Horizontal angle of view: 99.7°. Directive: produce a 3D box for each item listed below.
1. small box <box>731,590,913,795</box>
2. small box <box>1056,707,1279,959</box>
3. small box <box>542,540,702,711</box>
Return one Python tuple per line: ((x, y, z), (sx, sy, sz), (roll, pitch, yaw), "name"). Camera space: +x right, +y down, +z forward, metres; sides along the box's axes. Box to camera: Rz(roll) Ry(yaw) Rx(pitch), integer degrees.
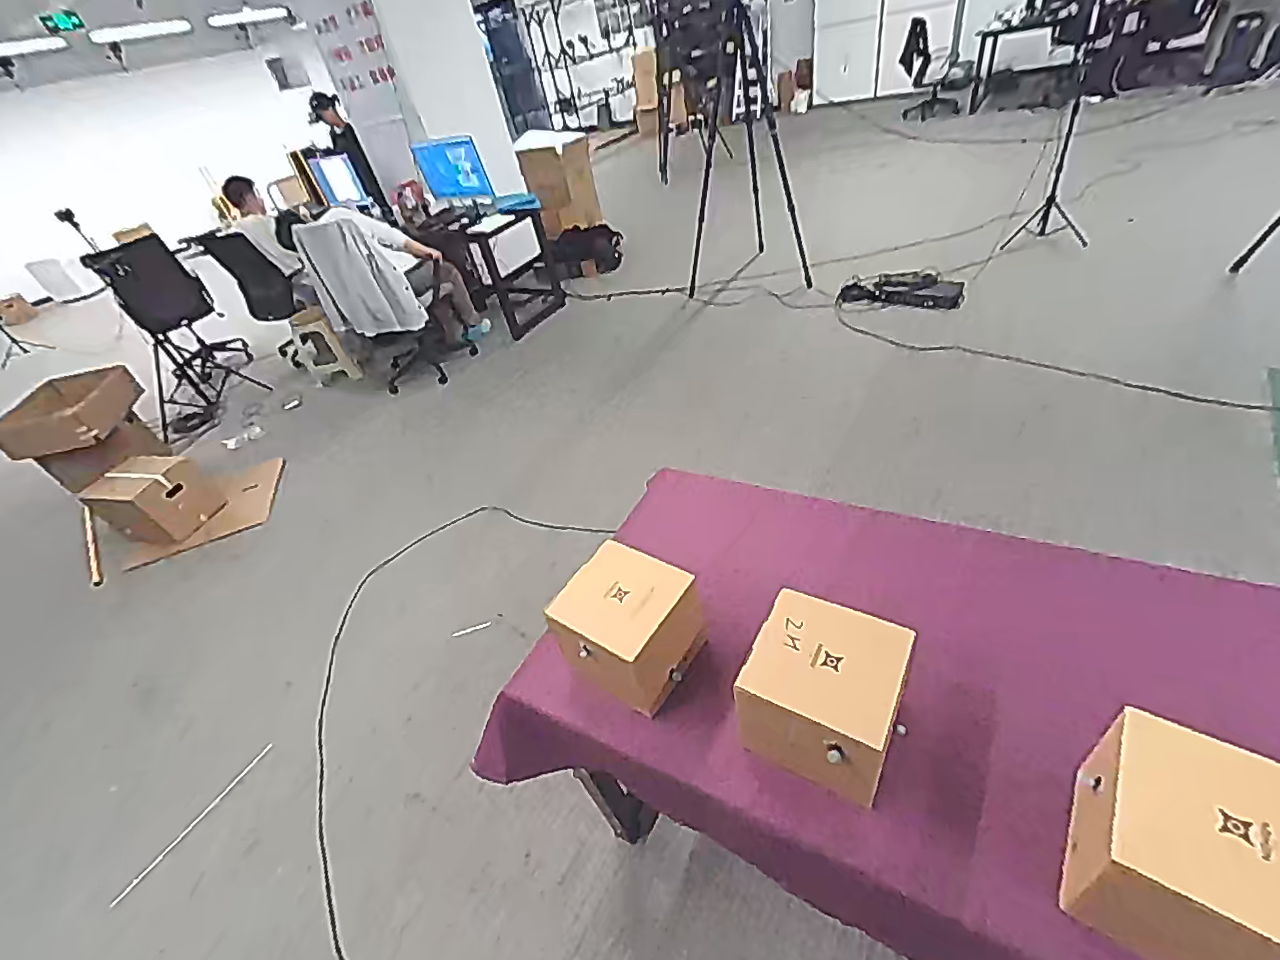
((0.240, 0.282, 0.717), (0.179, 0.176, 0.168), (15, 47, 31), "small box")
((0.539, 0.368, 0.527), (0.179, 0.176, 0.168), (18, 49, 33), "small box")
((-0.021, 0.231, 0.859), (0.179, 0.176, 0.168), (19, 50, 33), "small box")
